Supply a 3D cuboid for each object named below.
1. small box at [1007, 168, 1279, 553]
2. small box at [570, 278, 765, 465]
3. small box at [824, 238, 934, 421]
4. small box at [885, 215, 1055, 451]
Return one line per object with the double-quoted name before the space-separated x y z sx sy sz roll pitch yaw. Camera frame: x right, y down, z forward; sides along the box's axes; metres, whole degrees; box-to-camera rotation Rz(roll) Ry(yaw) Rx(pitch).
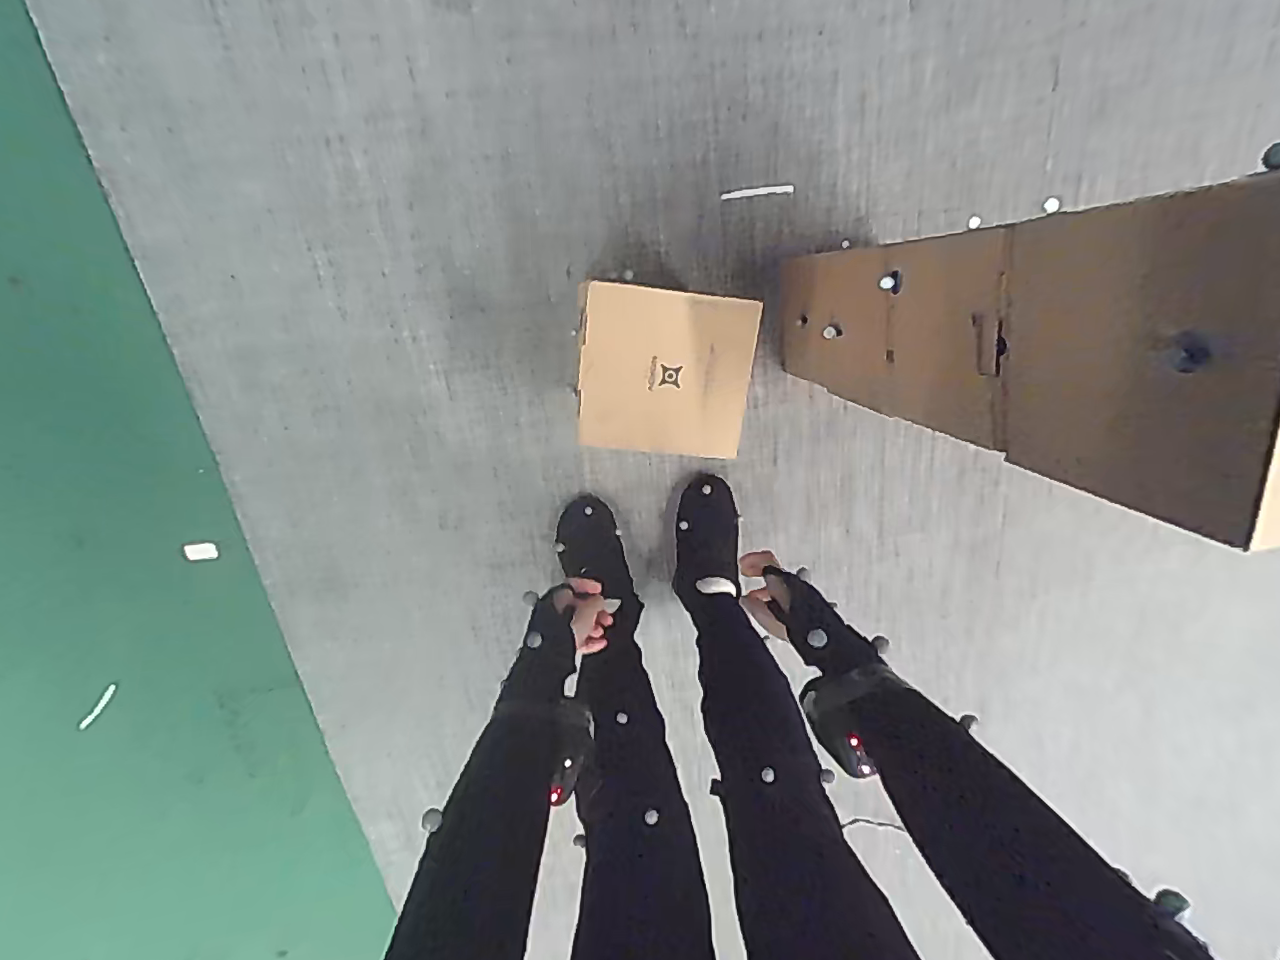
"small box" 0.353 -0.083 0.315 0.168 0.176 0.179 -11 109 -2
"small box" 0.020 -0.127 0.616 0.179 0.176 0.168 7 108 -7
"small box" 0.327 -0.183 0.628 0.168 0.176 0.179 -10 110 -3
"small box" 0.334 -0.135 0.470 0.179 0.176 0.168 -10 109 -3
